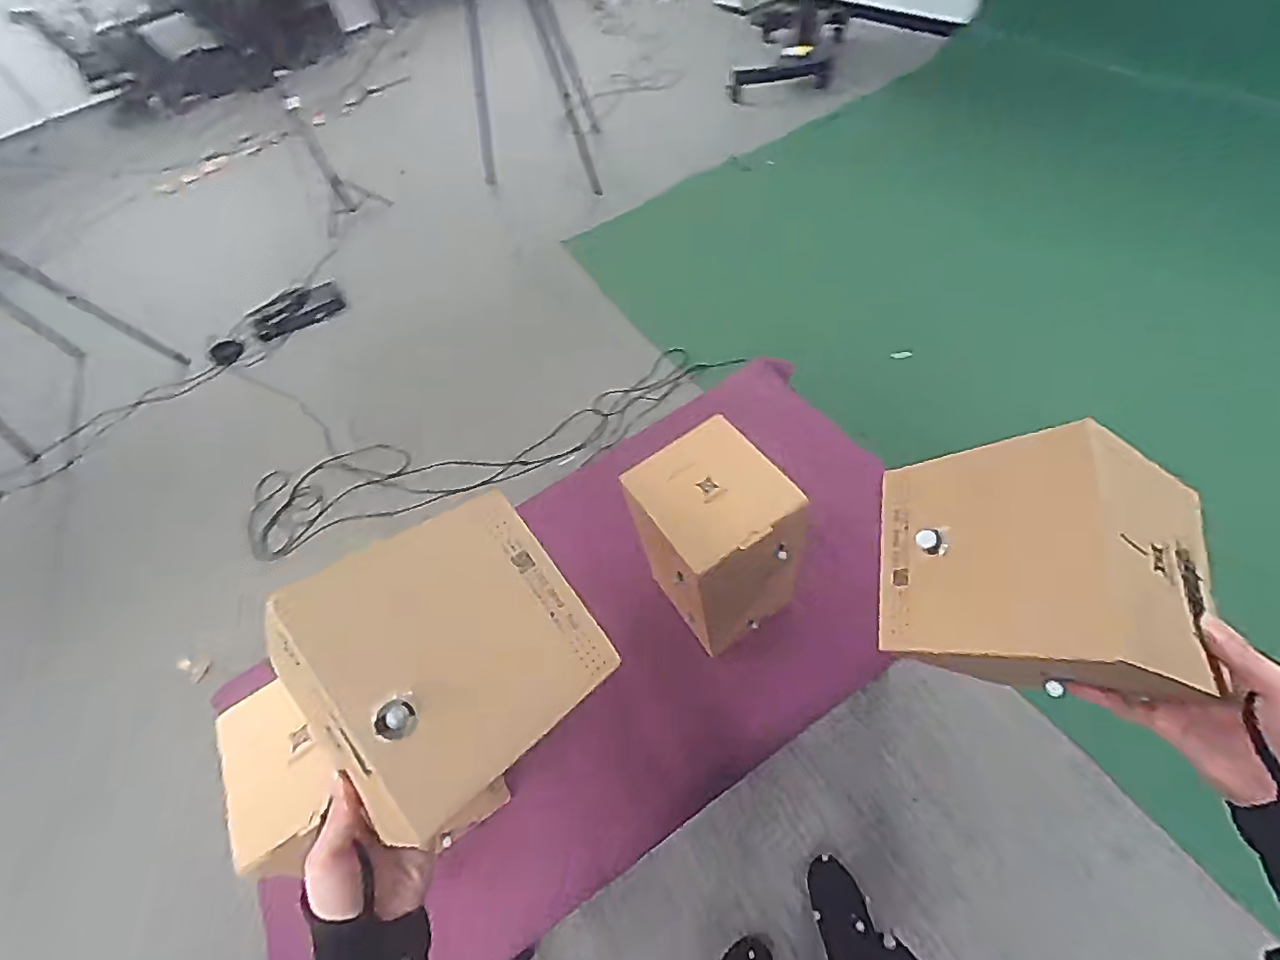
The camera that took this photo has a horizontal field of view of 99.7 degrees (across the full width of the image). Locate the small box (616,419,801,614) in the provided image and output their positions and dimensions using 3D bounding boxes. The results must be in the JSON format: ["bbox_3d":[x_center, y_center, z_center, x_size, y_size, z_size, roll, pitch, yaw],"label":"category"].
[{"bbox_3d":[0.094,0.058,0.731,0.168,0.176,0.179,-32,55,-11],"label":"small box"}]

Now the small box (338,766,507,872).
[{"bbox_3d":[-0.319,0.421,0.771,0.168,0.176,0.179,-33,55,-11],"label":"small box"}]

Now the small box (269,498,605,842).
[{"bbox_3d":[-0.156,0.142,0.425,0.176,0.179,0.168,-30,80,-40],"label":"small box"}]

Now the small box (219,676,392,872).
[{"bbox_3d":[-0.347,0.327,0.642,0.168,0.176,0.179,-34,56,-12],"label":"small box"}]

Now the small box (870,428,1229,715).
[{"bbox_3d":[0.321,0.082,0.446,0.179,0.176,0.168,21,67,-23],"label":"small box"}]
